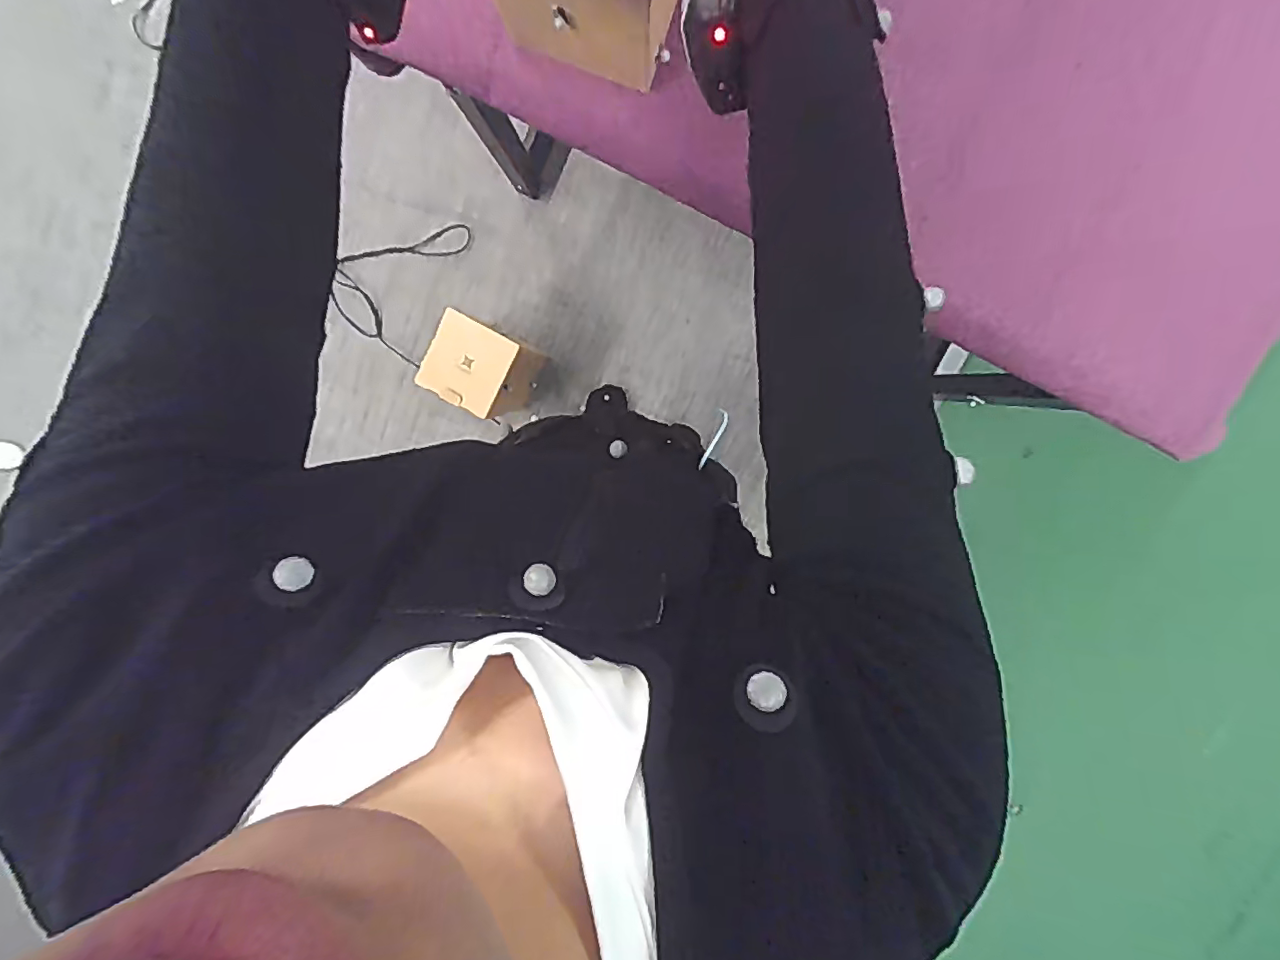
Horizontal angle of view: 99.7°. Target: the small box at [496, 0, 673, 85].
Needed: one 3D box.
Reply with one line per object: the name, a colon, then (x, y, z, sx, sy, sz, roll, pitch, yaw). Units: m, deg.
small box: (-0.047, -0.556, 0.559, 0.179, 0.176, 0.168, 19, 99, -4)
